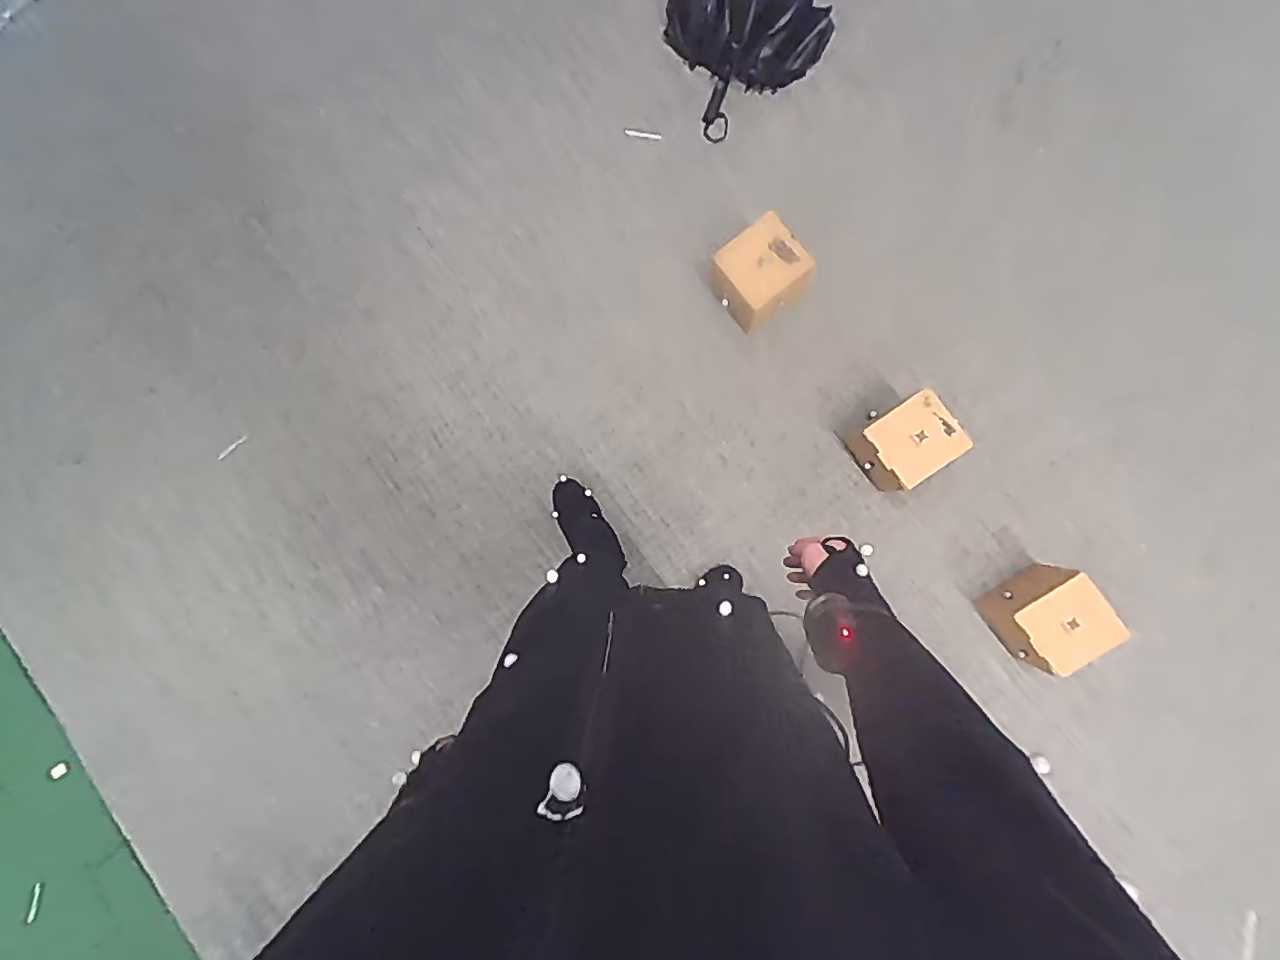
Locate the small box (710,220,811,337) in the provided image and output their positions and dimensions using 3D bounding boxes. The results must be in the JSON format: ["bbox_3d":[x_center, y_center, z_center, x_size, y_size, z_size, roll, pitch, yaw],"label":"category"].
[{"bbox_3d":[0.283,-0.484,1.323,0.179,0.176,0.168,-38,84,4],"label":"small box"}]

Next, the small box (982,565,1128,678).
[{"bbox_3d":[0.920,0.312,1.227,0.179,0.176,0.168,-36,85,3],"label":"small box"}]

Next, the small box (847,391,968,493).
[{"bbox_3d":[0.614,-0.081,1.275,0.179,0.176,0.168,-36,85,4],"label":"small box"}]
